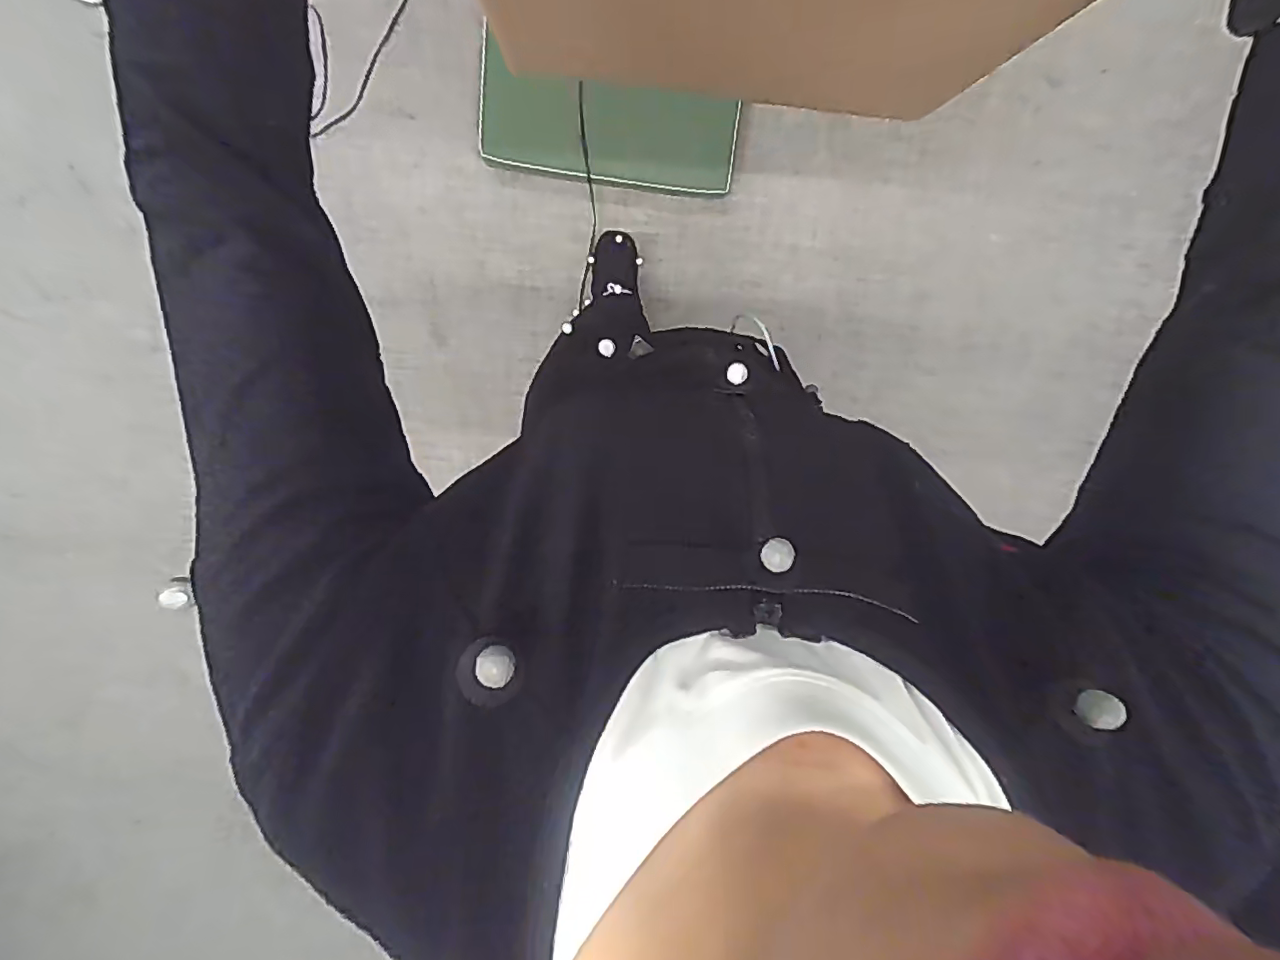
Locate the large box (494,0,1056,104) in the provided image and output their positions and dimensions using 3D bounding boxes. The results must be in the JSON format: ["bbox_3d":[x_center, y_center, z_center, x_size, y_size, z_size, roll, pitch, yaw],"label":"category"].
[{"bbox_3d":[0.095,-0.483,0.337,0.408,0.320,0.320,3,106,-5],"label":"large box"}]
